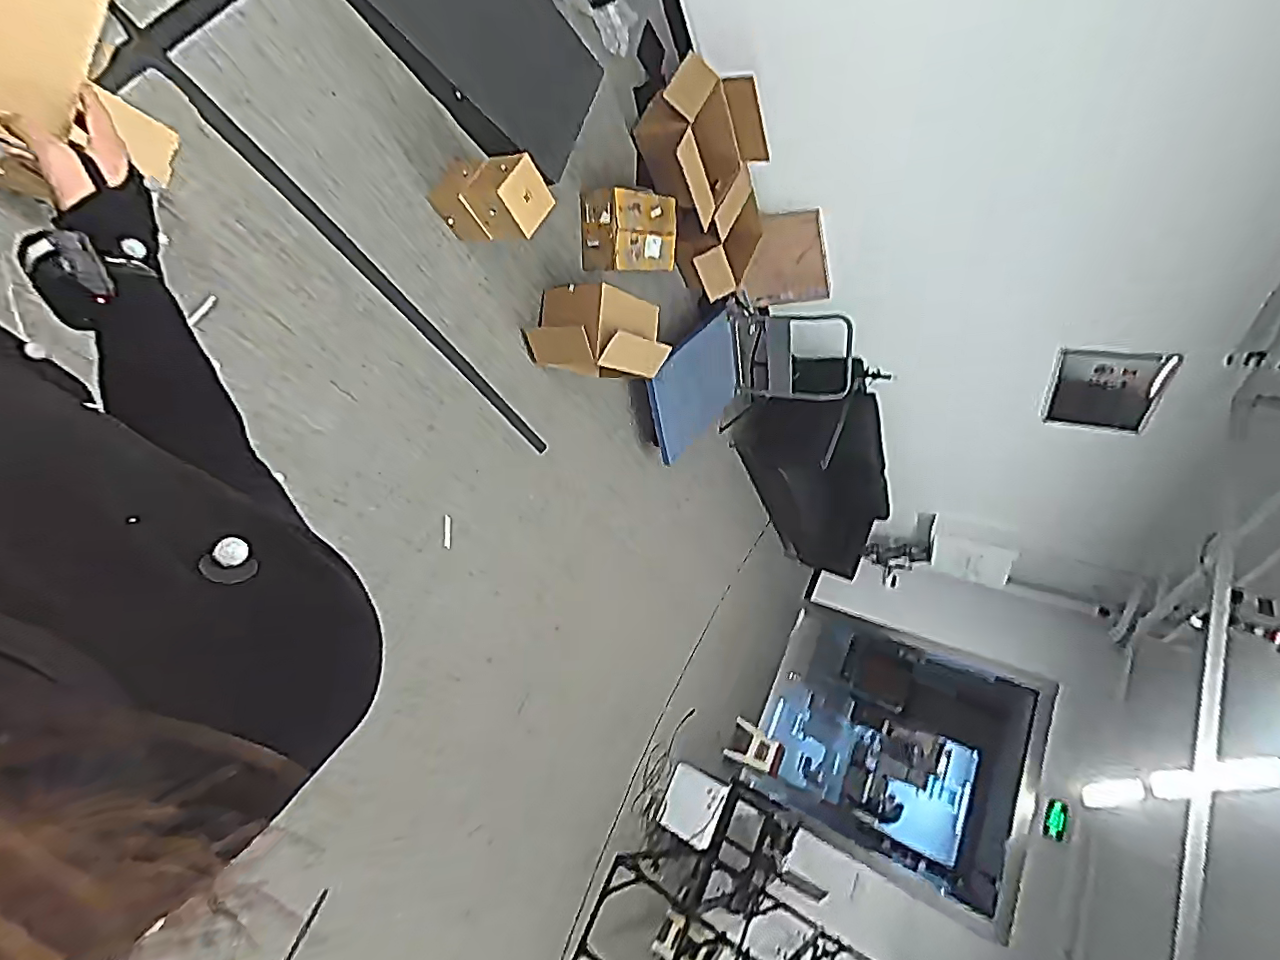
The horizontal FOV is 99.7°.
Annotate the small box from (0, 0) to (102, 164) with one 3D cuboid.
[{"bbox_3d":[-0.587,-0.407,0.446,0.168,0.176,0.179,11,111,-57],"label":"small box"}]
